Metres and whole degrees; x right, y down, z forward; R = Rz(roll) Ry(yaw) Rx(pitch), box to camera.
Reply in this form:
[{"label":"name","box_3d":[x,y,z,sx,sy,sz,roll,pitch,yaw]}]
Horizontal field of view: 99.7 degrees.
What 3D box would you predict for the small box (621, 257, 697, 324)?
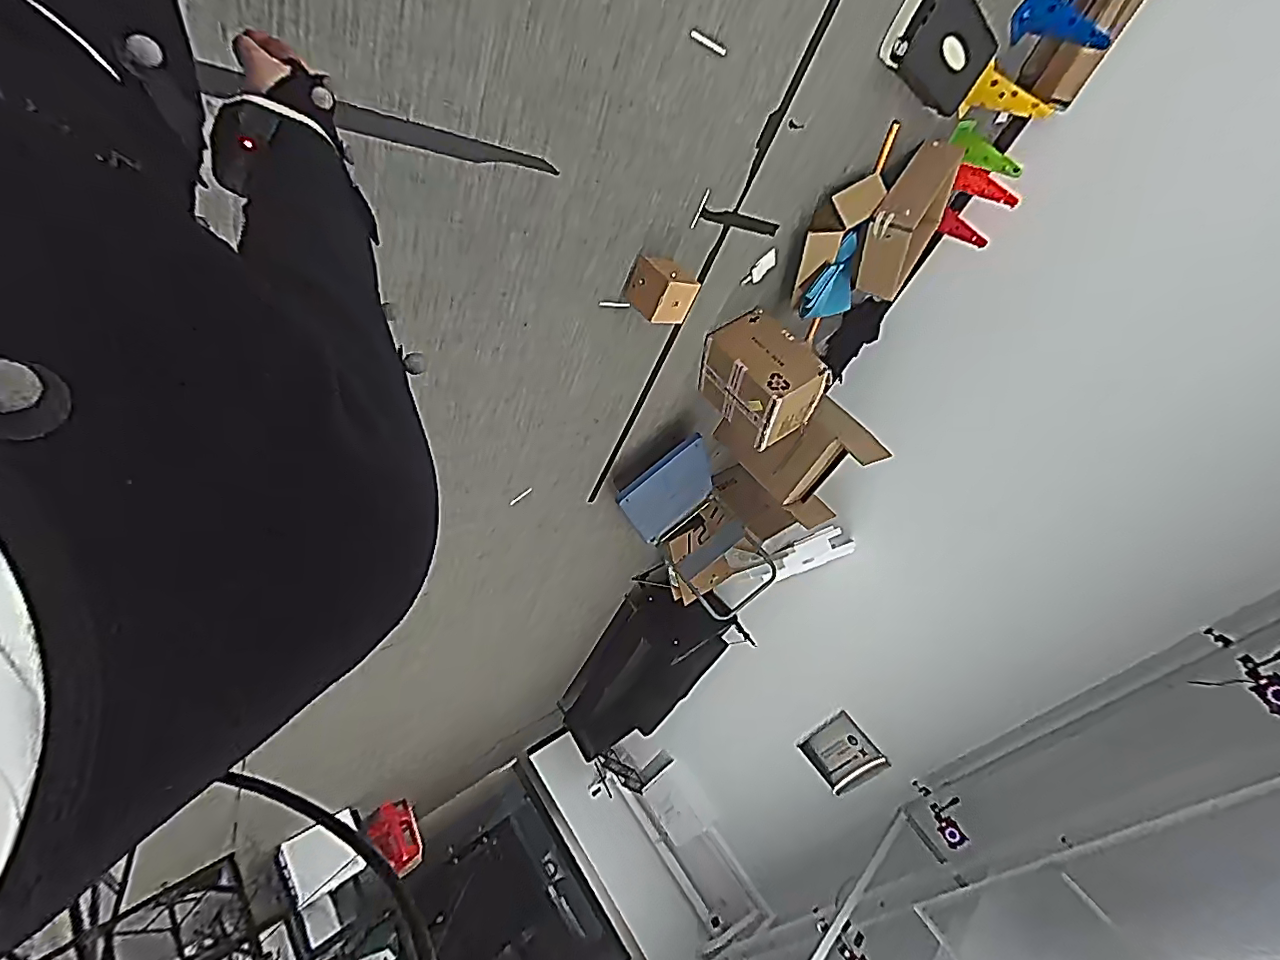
[{"label":"small box","box_3d":[0.066,-0.689,1.968,0.179,0.176,0.168,-15,146,-44]}]
